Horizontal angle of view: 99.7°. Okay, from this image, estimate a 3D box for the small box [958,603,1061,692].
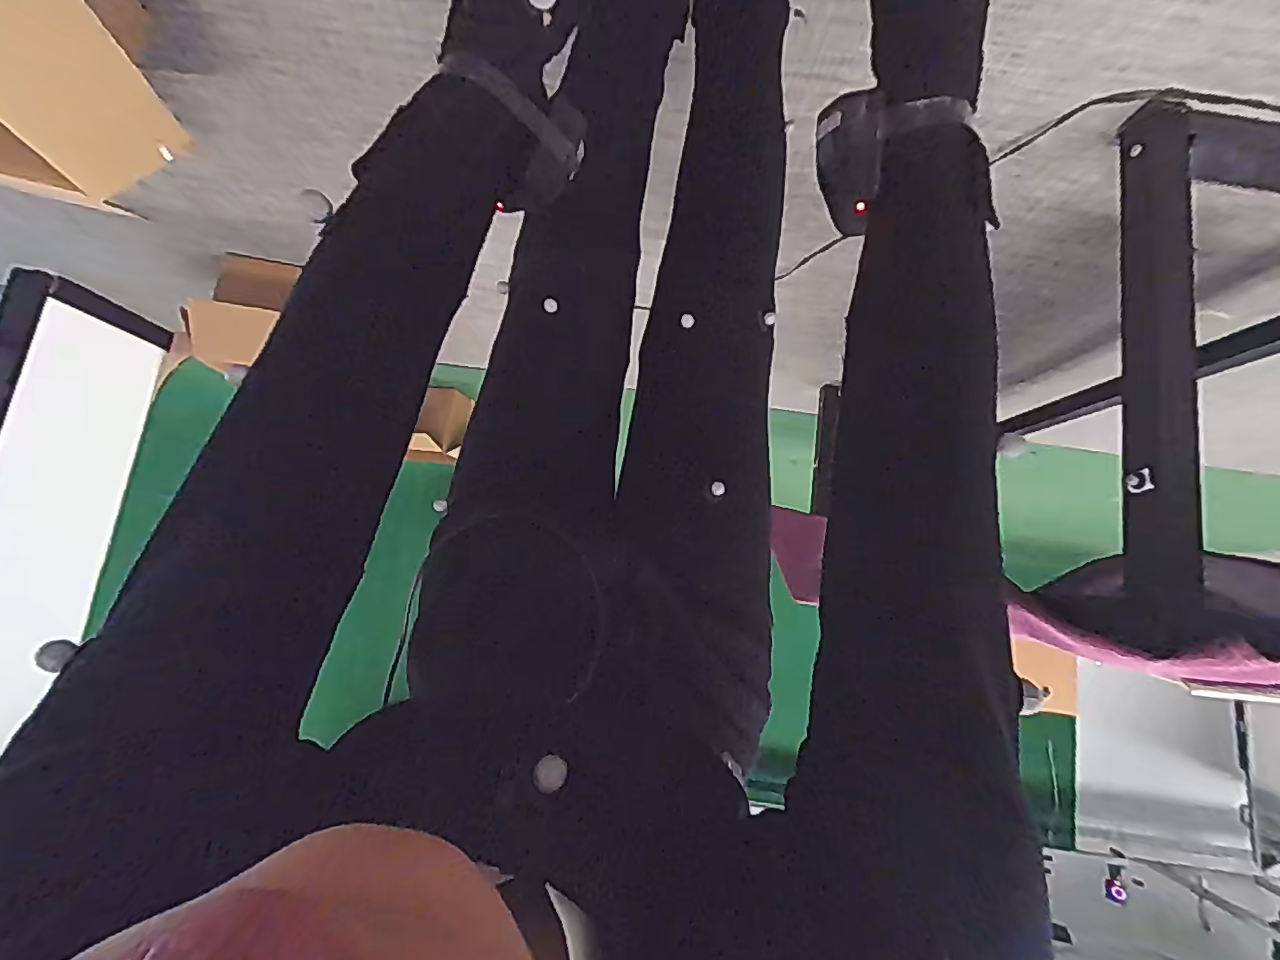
[{"bbox_3d":[0.886,0.401,1.320,0.179,0.176,0.168,8,172,-3],"label":"small box"}]
